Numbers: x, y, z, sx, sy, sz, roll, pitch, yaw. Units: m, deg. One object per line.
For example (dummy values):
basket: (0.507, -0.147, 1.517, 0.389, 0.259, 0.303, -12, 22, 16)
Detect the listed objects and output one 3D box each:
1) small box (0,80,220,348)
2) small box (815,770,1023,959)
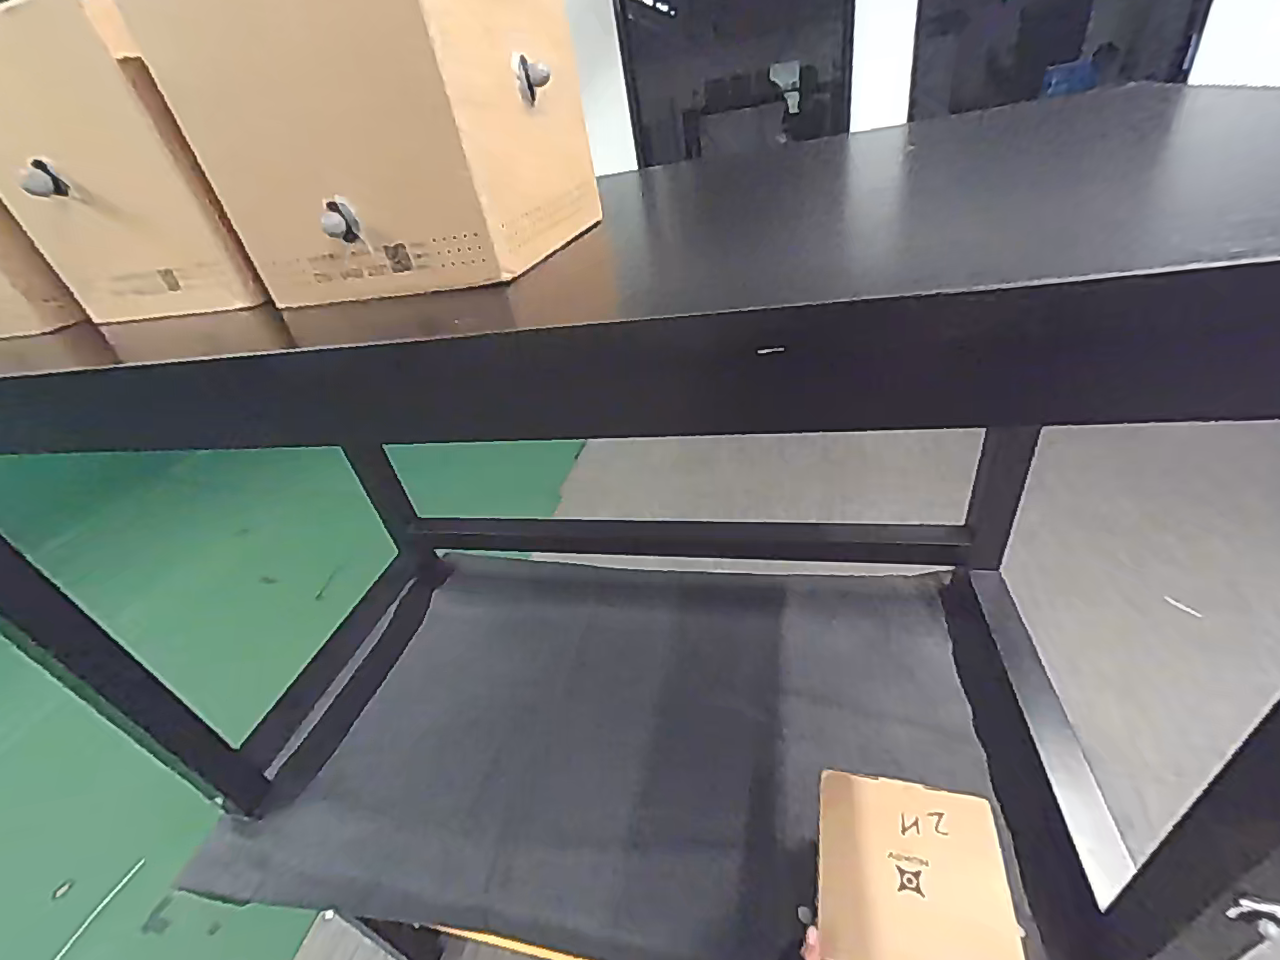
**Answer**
small box: (-0.512, -0.221, 0.460, 0.168, 0.176, 0.179, 1, 36, 17)
small box: (0.270, 0.441, 0.554, 0.168, 0.176, 0.179, 2, 33, 18)
